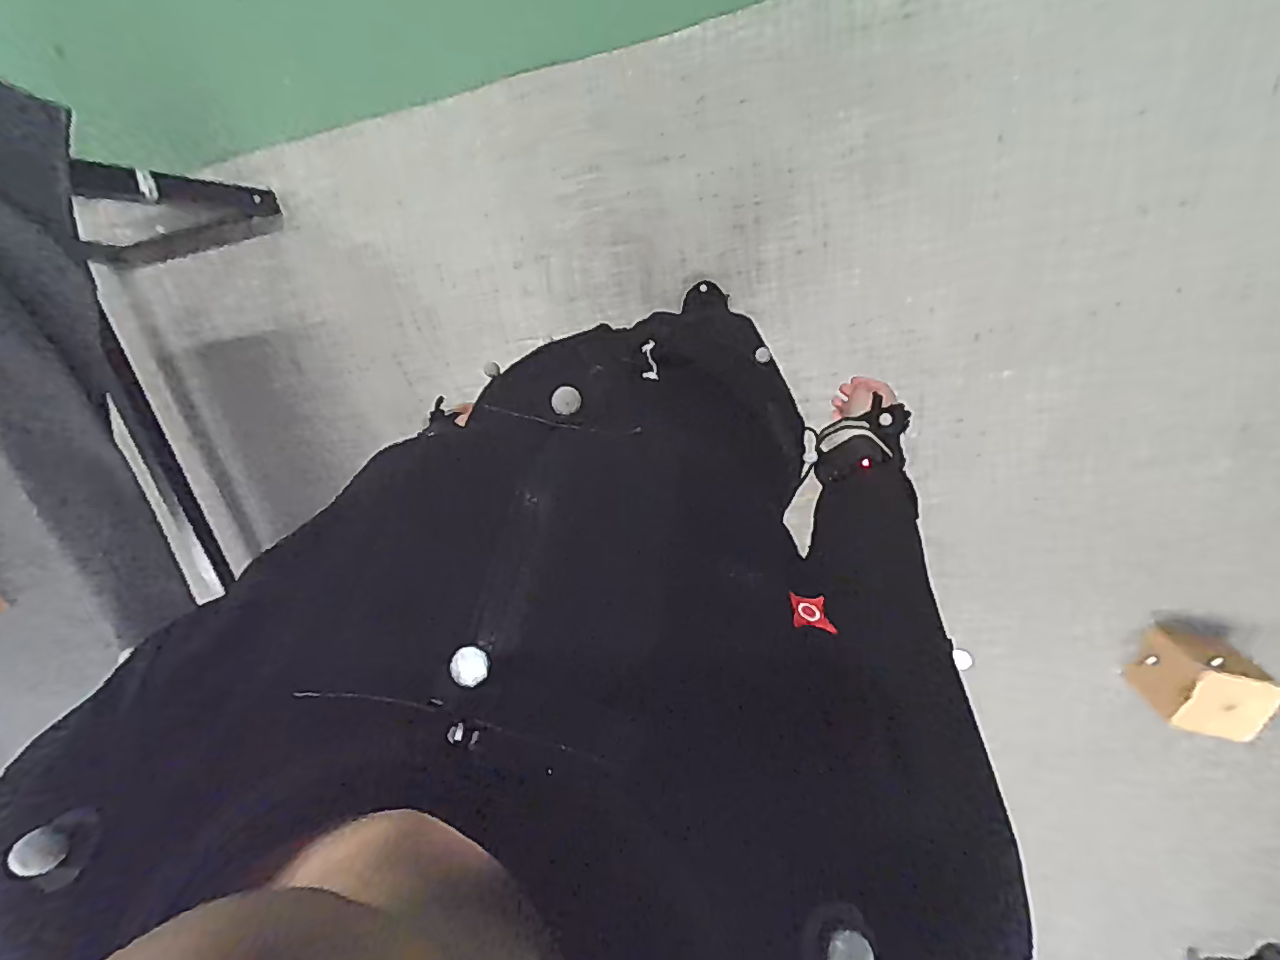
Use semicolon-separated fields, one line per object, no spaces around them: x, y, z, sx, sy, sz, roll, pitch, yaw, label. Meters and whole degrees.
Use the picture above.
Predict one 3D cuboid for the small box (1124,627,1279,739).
1.326;0.472;1.281;0.179;0.176;0.168;11;113;5;small box
